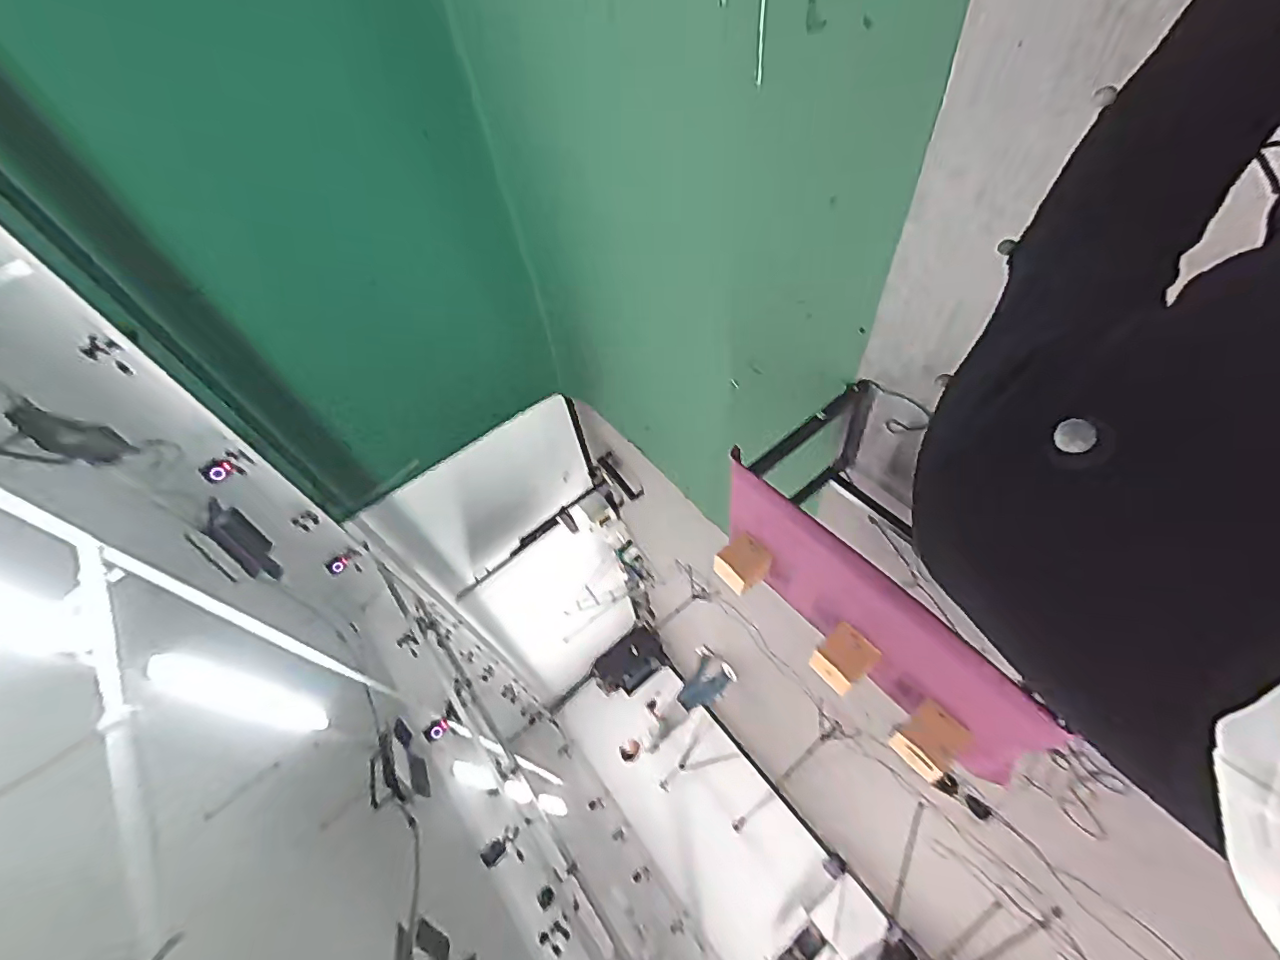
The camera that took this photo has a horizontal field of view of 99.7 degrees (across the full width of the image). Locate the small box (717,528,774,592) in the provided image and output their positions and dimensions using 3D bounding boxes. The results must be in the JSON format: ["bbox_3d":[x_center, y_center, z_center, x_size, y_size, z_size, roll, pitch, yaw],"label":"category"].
[{"bbox_3d":[0.441,0.335,2.267,0.168,0.176,0.179,45,161,26],"label":"small box"}]

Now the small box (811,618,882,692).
[{"bbox_3d":[0.765,0.646,2.003,0.168,0.176,0.179,44,160,32],"label":"small box"}]
